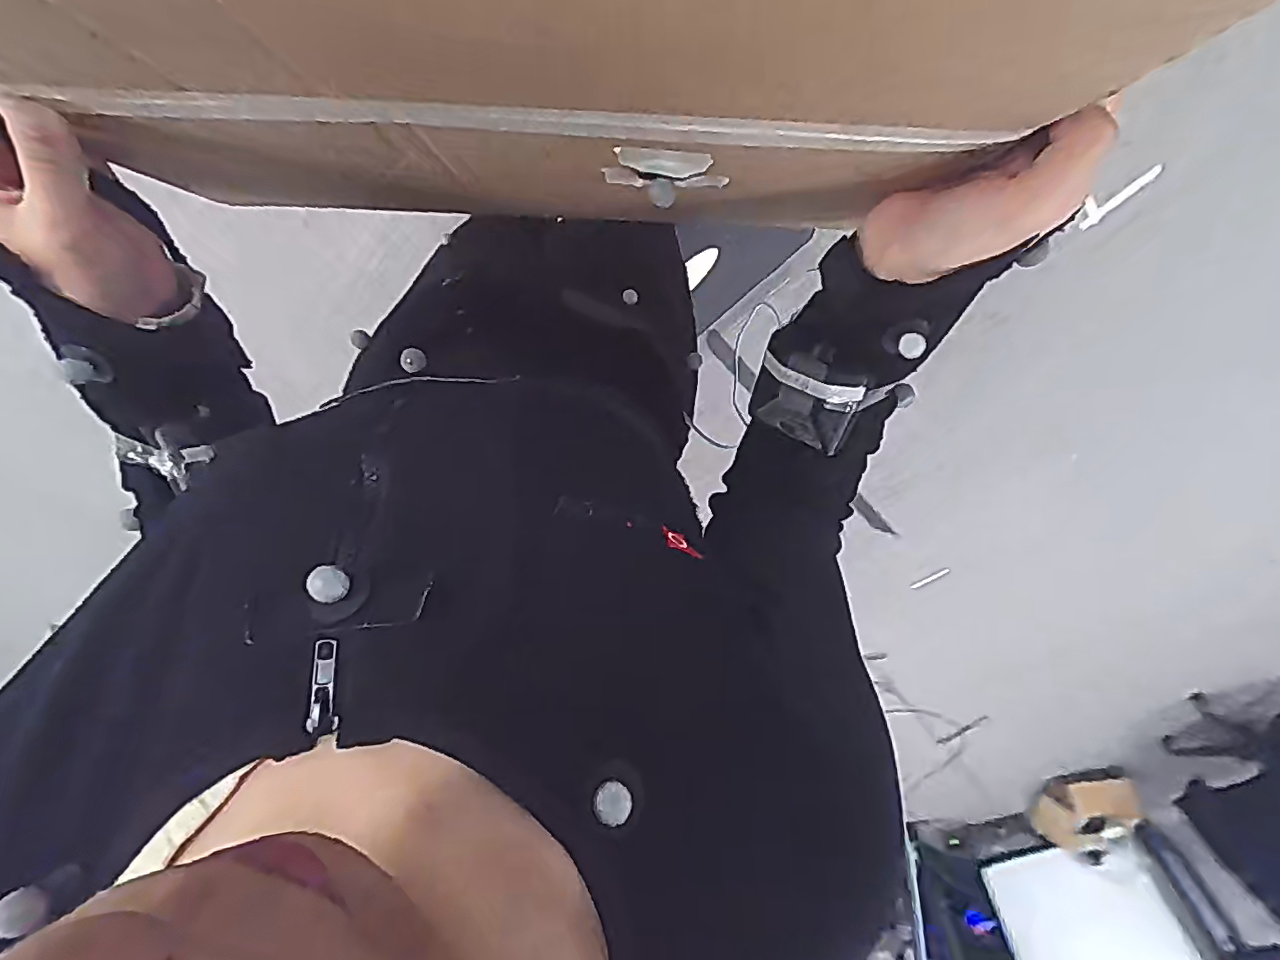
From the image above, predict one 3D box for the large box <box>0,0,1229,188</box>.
[{"bbox_3d":[-0.033,-0.294,0.137,0.408,0.320,0.320,1,103,-2],"label":"large box"}]
